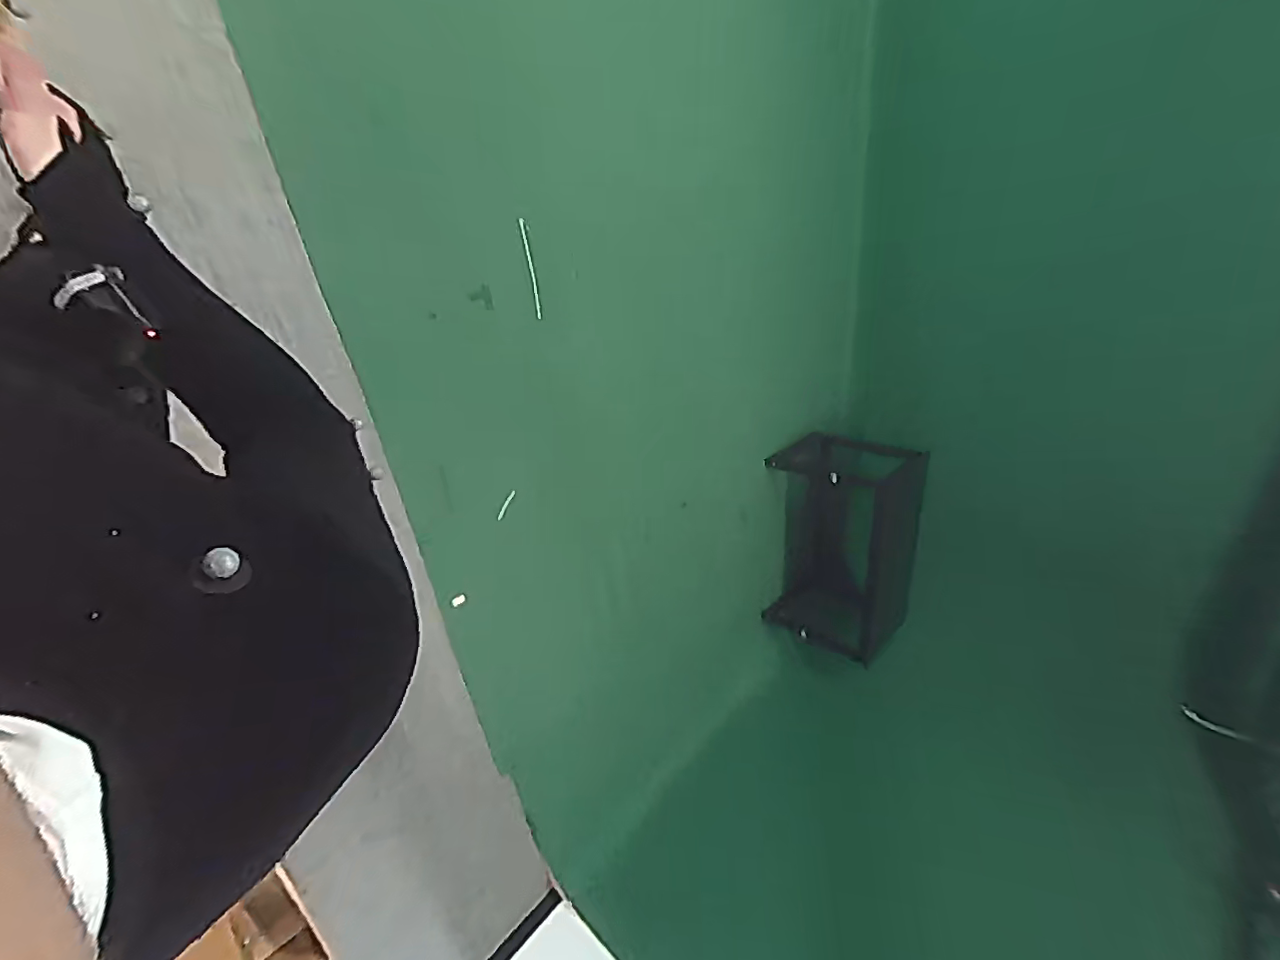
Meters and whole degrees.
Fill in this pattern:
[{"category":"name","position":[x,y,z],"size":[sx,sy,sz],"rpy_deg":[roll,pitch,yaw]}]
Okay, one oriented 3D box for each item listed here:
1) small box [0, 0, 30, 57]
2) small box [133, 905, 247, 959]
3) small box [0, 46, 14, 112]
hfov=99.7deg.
[{"category":"small box","position":[-0.380,-0.303,0.212],"size":[0.179,0.176,0.168],"rpy_deg":[-5,112,-48]},{"category":"small box","position":[-0.920,1.038,1.108],"size":[0.179,0.176,0.168],"rpy_deg":[-24,121,-40]},{"category":"small box","position":[-0.616,-0.407,0.412],"size":[0.179,0.176,0.168],"rpy_deg":[-2,109,-49]}]
